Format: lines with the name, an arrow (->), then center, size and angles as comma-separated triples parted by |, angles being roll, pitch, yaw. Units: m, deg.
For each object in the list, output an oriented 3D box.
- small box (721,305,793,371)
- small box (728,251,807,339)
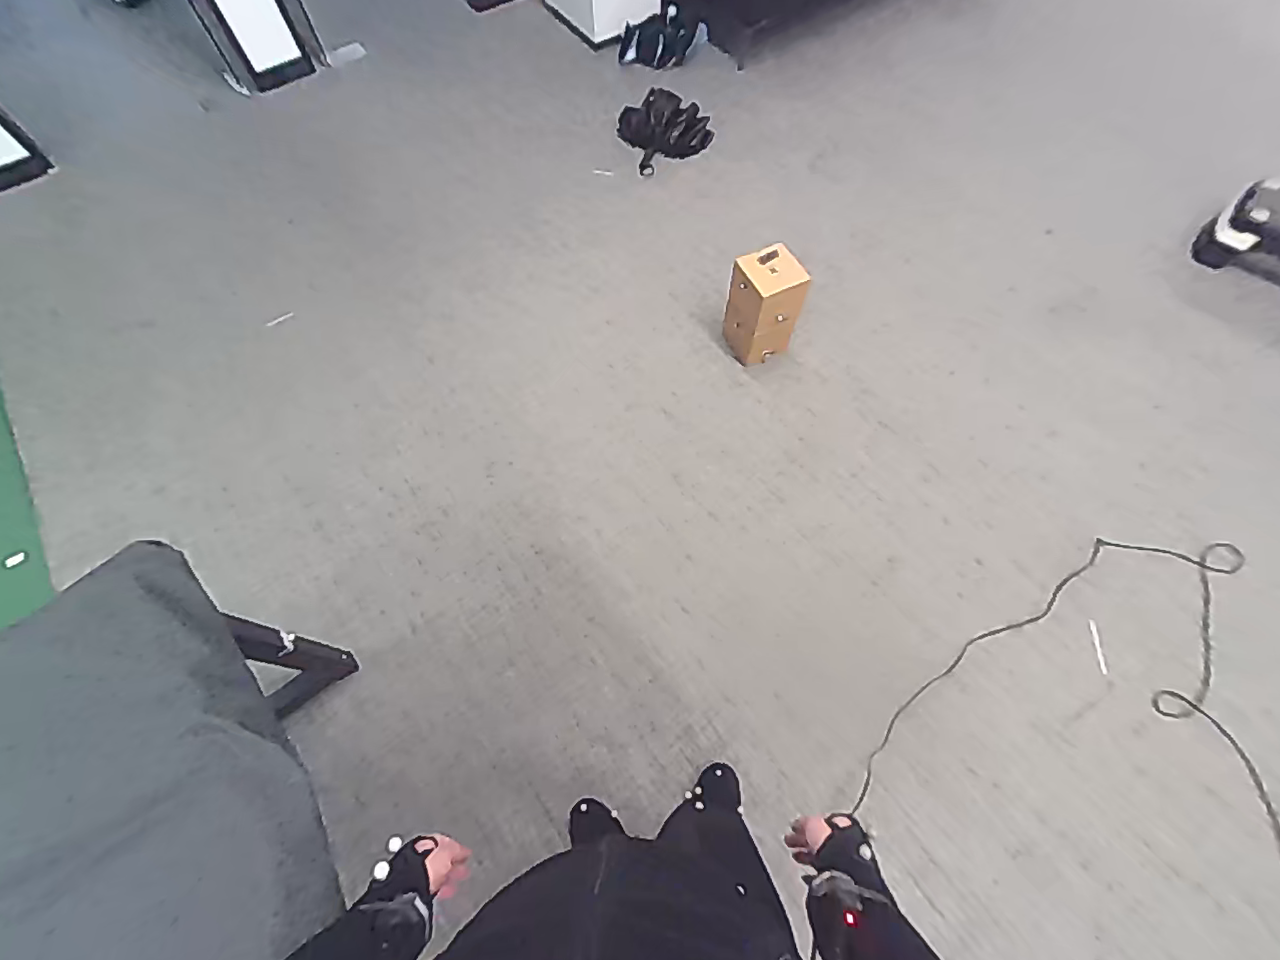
small box -> 0.392, -0.509, 1.858 | 0.168, 0.176, 0.179 | -24, 67, -10
small box -> 0.393, -0.581, 1.711 | 0.168, 0.176, 0.179 | -23, 67, -10
